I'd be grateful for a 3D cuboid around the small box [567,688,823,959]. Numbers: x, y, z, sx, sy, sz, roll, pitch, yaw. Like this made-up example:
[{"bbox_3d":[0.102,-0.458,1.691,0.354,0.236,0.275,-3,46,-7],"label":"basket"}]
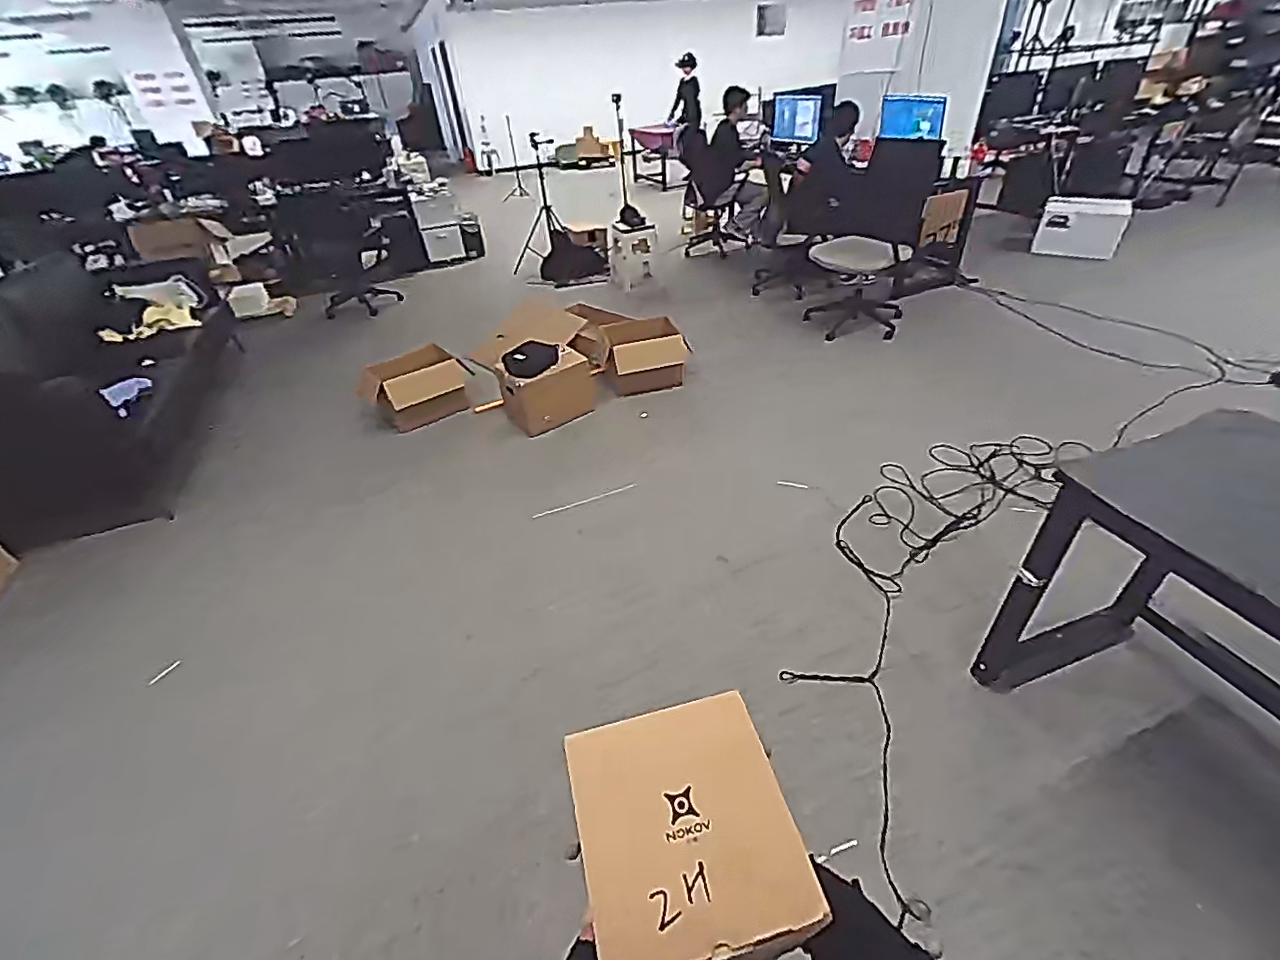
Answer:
[{"bbox_3d":[0.034,0.322,0.482,0.168,0.176,0.179,-11,43,-9],"label":"small box"}]
